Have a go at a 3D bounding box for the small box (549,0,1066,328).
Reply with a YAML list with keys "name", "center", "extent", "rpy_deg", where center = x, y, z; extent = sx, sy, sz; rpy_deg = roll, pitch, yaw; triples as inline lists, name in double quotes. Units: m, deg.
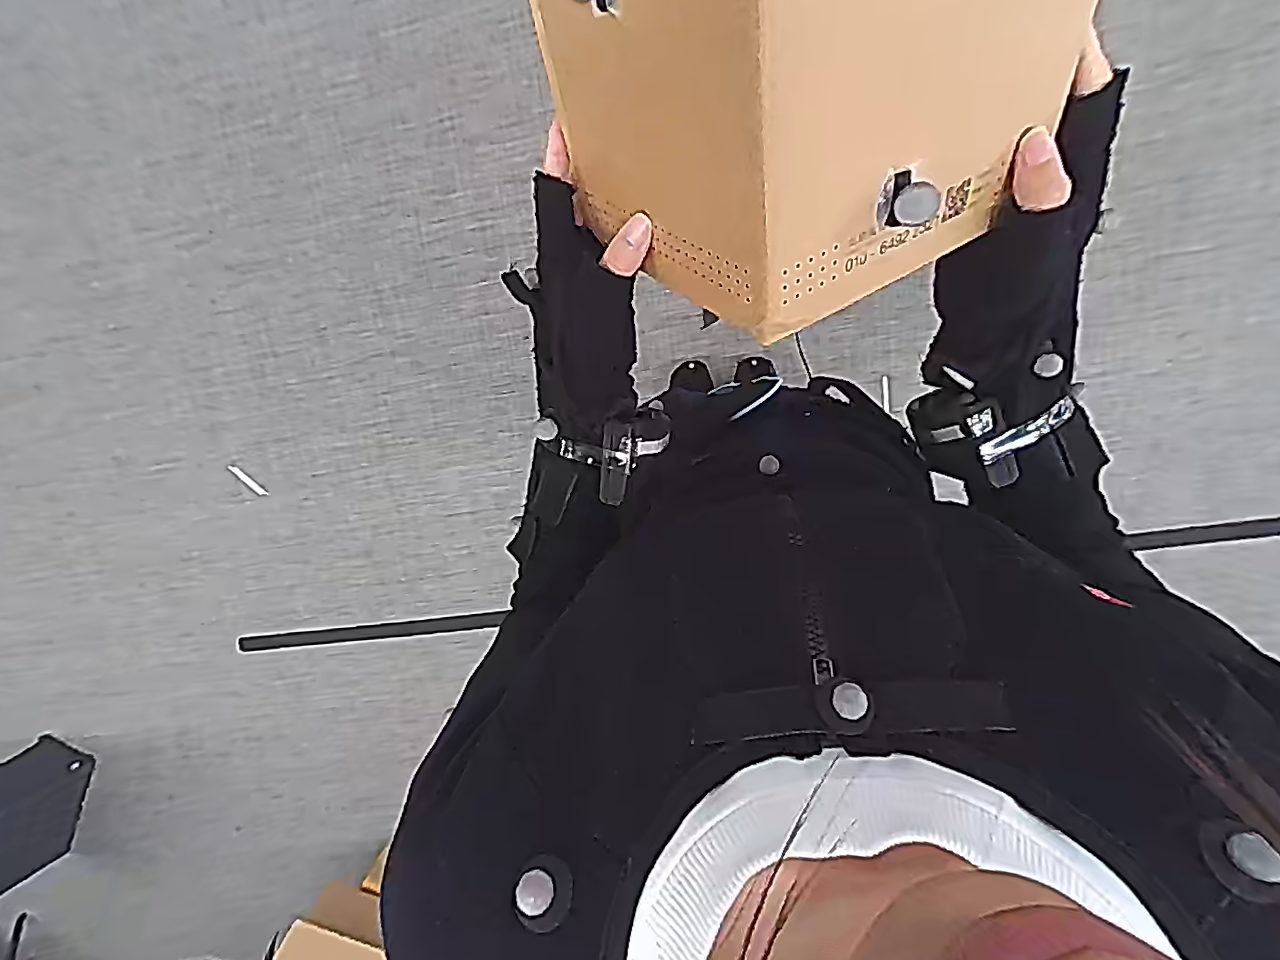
- name: "small box"
  center: [0.067, -0.201, 0.264]
  extent: [0.168, 0.179, 0.176]
  rpy_deg: [-29, 137, -12]
